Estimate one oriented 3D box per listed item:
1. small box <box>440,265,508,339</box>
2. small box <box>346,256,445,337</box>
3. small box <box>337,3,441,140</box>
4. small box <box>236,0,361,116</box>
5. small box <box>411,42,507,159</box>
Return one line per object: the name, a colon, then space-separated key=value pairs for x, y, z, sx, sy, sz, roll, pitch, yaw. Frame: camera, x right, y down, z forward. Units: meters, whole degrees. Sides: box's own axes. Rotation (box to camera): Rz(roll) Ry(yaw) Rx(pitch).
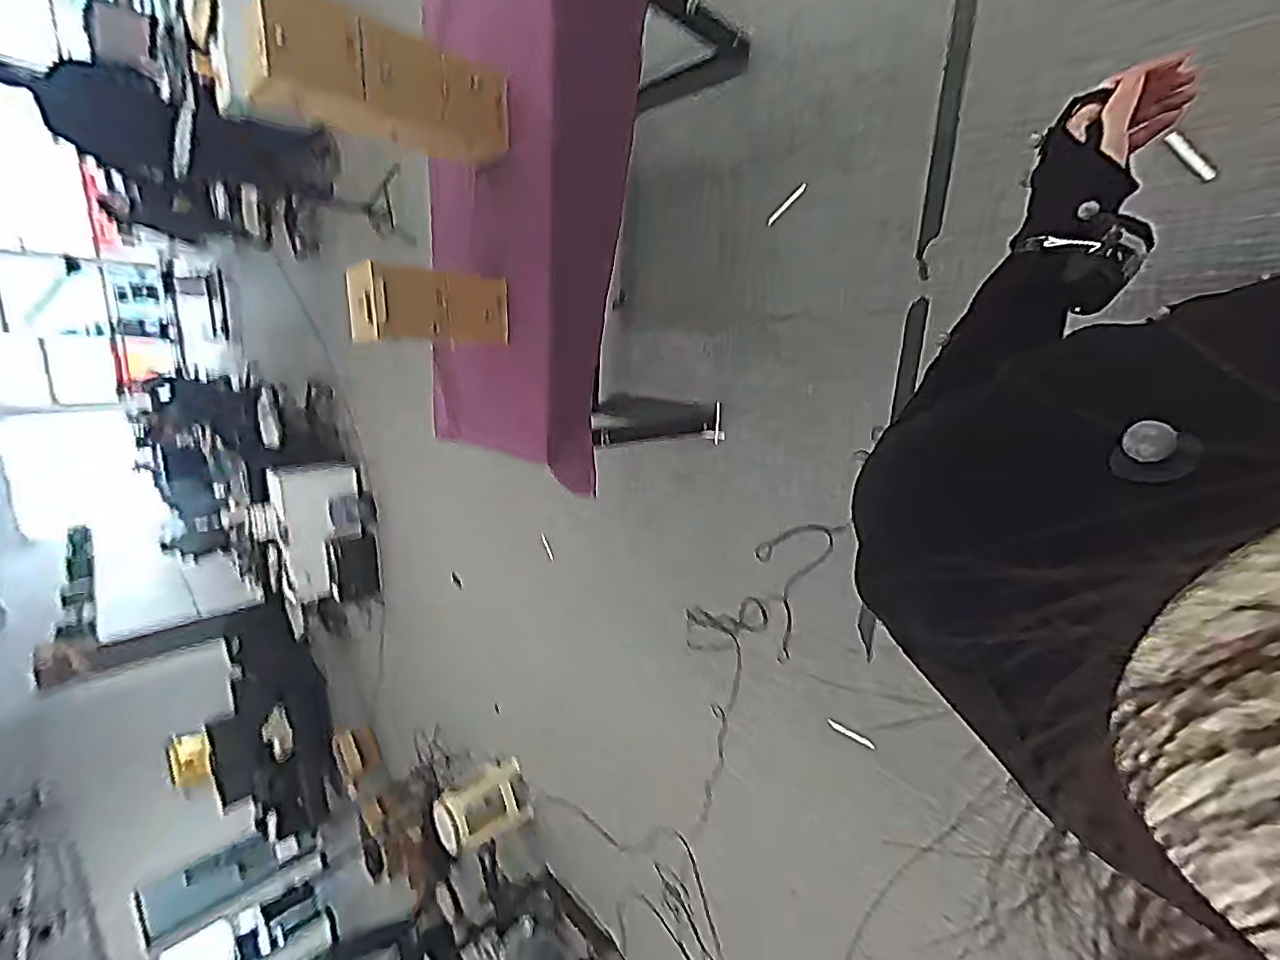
small box: x=-0.463 y=-0.456 z=1.409 sx=0.179 sy=0.176 sz=0.168 roll=14 pitch=108 yaw=42
small box: x=-0.580 y=-0.432 z=1.296 sx=0.179 sy=0.176 sz=0.168 roll=13 pitch=107 yaw=43
small box: x=-0.543 y=-0.860 z=1.165 sx=0.168 sy=0.176 sz=0.179 roll=14 pitch=108 yaw=42
small box: x=-0.662 y=-0.842 z=1.053 sx=0.179 sy=0.176 sz=0.168 roll=16 pitch=109 yaw=43
small box: x=-0.429 y=-0.886 z=1.280 sx=0.179 sy=0.176 sz=0.168 roll=16 pitch=109 yaw=43
